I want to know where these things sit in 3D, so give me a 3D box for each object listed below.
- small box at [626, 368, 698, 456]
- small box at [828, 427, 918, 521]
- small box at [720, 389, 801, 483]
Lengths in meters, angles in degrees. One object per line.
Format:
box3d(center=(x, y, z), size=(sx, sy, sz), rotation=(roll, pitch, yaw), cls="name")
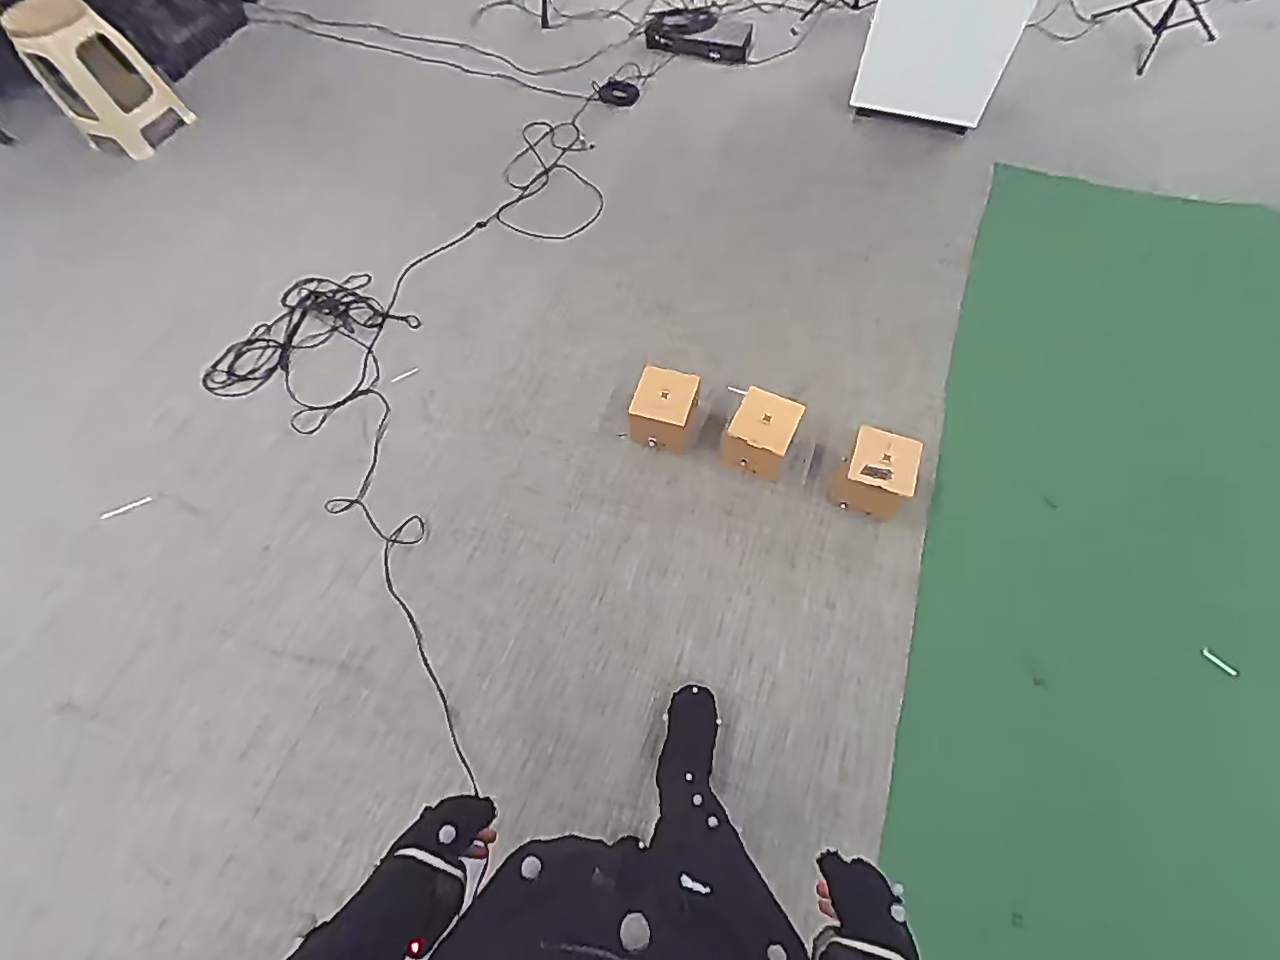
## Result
box3d(center=(0.066, -0.197, 1.592), size=(0.168, 0.176, 0.179), rotation=(14, 66, 11), cls="small box")
box3d(center=(0.629, -0.010, 1.478), size=(0.168, 0.176, 0.179), rotation=(19, 65, 11), cls="small box")
box3d(center=(0.338, -0.121, 1.545), size=(0.168, 0.176, 0.179), rotation=(24, 67, 13), cls="small box")
